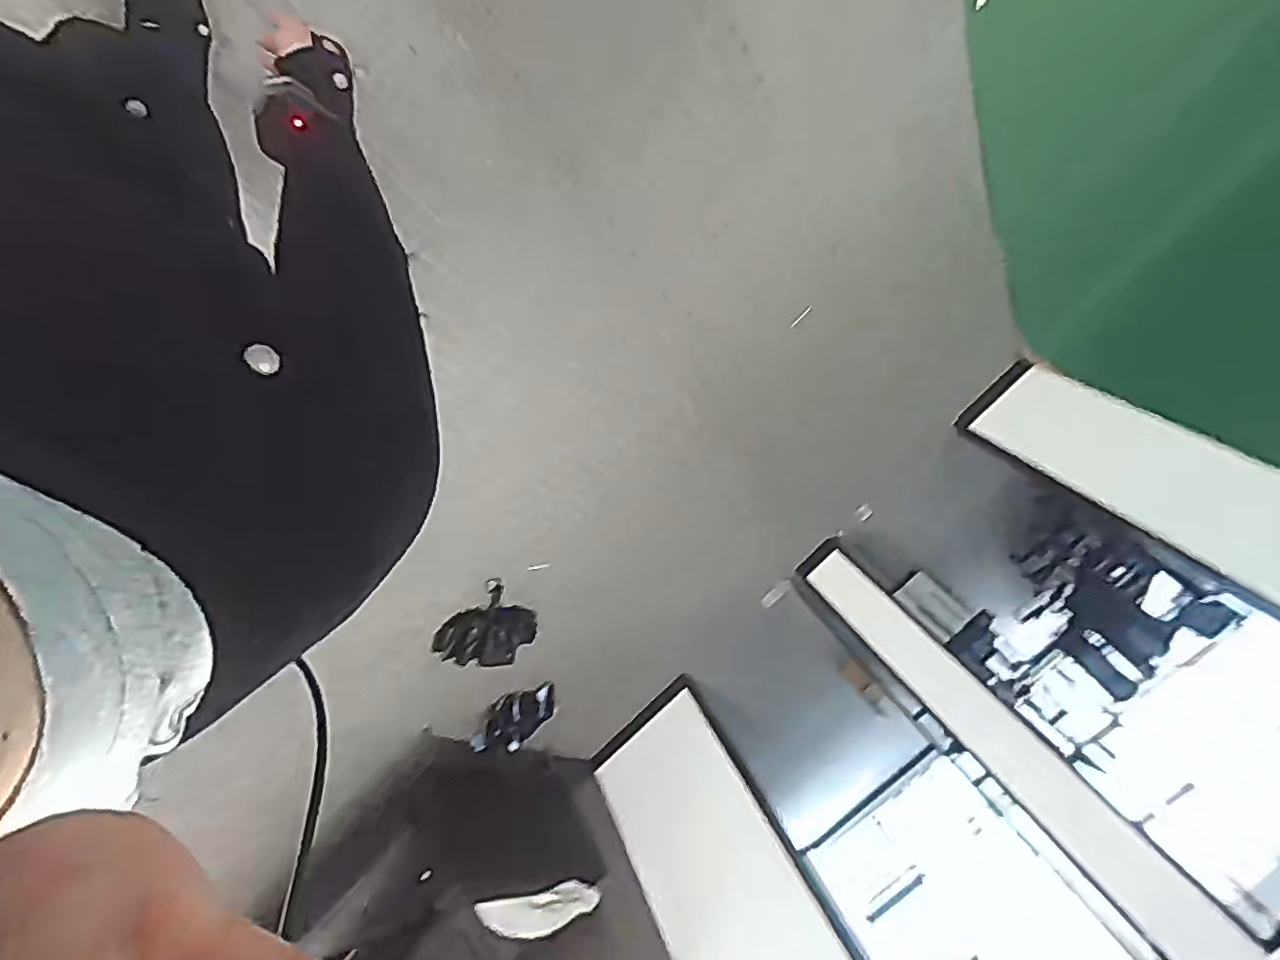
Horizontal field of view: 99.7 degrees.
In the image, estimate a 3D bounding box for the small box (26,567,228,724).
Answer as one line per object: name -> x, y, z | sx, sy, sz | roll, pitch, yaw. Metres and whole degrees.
small box -> -0.823, 0.268, 0.889 | 0.168, 0.176, 0.179 | -45, 136, 7
